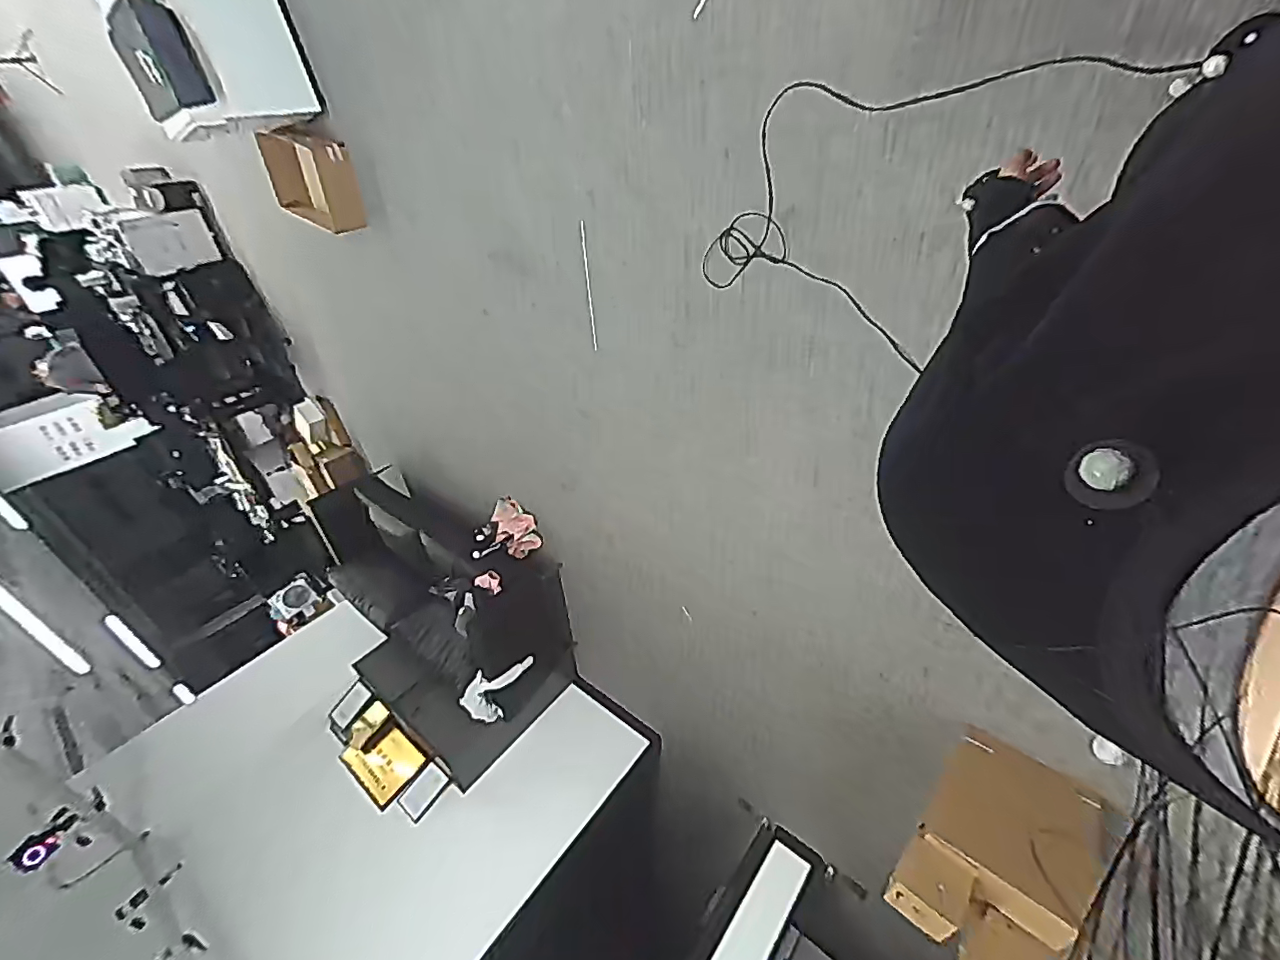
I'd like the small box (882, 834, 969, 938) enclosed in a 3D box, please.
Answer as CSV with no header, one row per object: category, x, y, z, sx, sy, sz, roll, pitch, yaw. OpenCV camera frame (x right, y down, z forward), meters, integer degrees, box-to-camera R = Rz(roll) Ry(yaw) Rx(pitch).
small box,0.890,1.256,1.680,0.179,0.176,0.168,27,133,29
